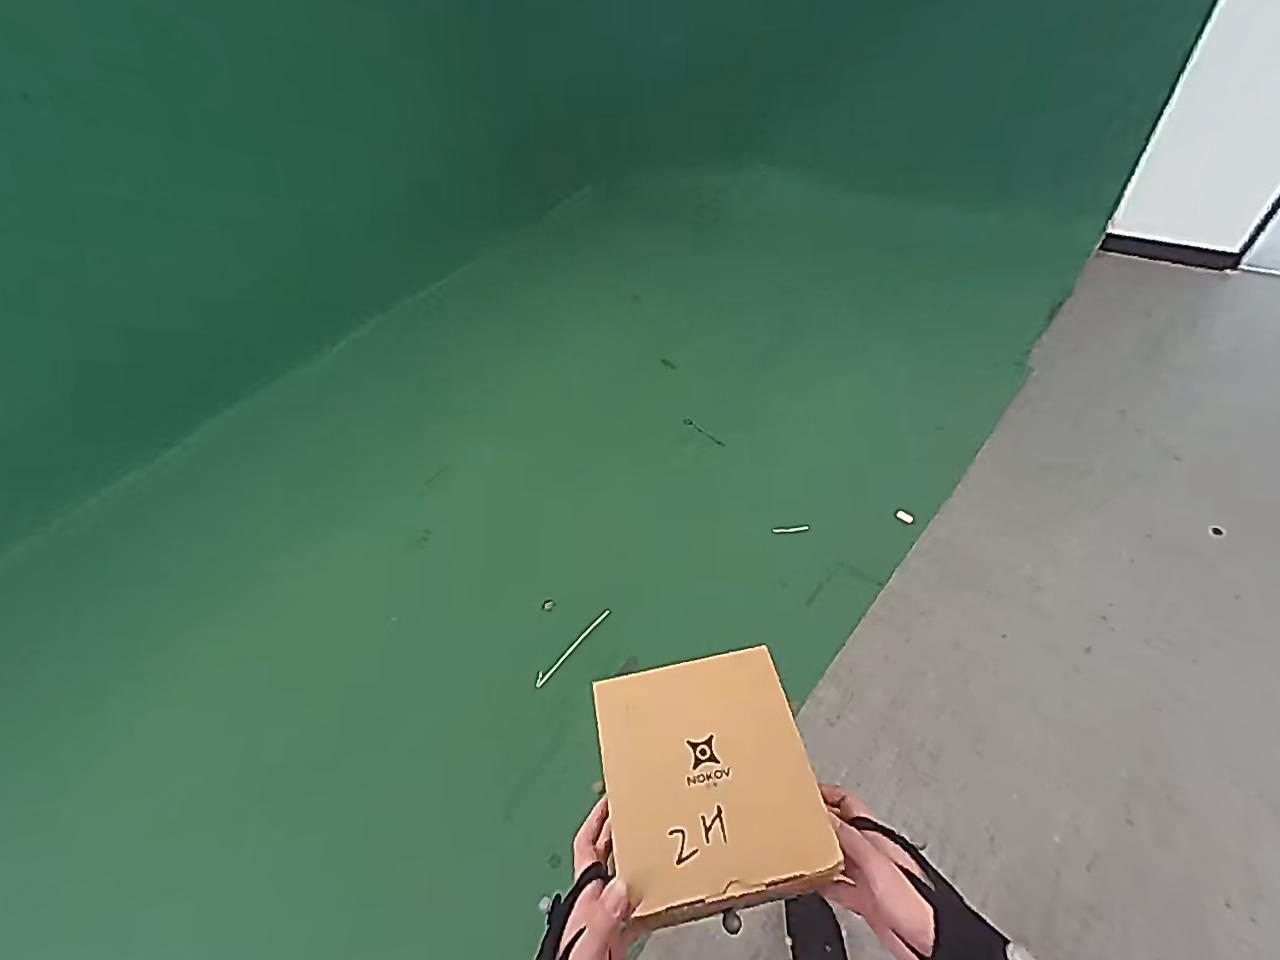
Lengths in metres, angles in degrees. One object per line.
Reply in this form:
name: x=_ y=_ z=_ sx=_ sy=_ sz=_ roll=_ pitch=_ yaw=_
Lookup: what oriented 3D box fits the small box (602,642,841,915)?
small box: x=0.062 y=0.281 z=0.509 sx=0.168 sy=0.176 sz=0.179 roll=-11 pitch=49 yaw=-3
